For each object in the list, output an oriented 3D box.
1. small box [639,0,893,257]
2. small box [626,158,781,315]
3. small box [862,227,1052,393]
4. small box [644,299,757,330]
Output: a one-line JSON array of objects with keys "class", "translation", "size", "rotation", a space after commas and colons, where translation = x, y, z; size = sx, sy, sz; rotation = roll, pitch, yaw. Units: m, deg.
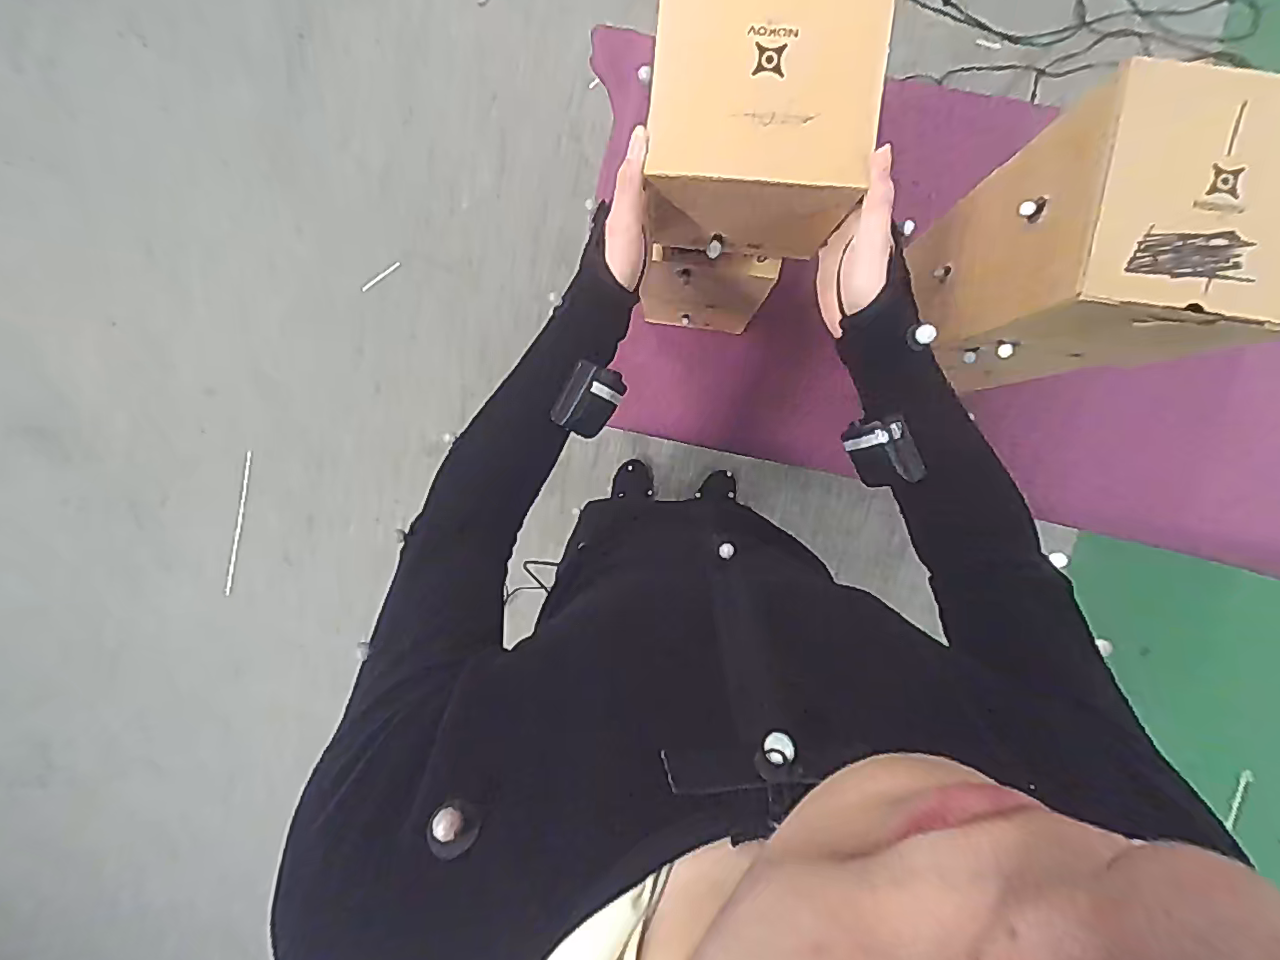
[{"class": "small box", "translation": [0.093, -0.310, 0.455], "size": [0.168, 0.176, 0.179], "rotation": [6, 96, 3]}, {"class": "small box", "translation": [0.082, -0.315, 0.641], "size": [0.168, 0.176, 0.179], "rotation": [10, 93, 3]}, {"class": "small box", "translation": [0.443, -0.234, 0.786], "size": [0.168, 0.176, 0.179], "rotation": [11, 94, 3]}, {"class": "small box", "translation": [0.094, -0.336, 0.803], "size": [0.168, 0.176, 0.179], "rotation": [8, 94, 3]}]
